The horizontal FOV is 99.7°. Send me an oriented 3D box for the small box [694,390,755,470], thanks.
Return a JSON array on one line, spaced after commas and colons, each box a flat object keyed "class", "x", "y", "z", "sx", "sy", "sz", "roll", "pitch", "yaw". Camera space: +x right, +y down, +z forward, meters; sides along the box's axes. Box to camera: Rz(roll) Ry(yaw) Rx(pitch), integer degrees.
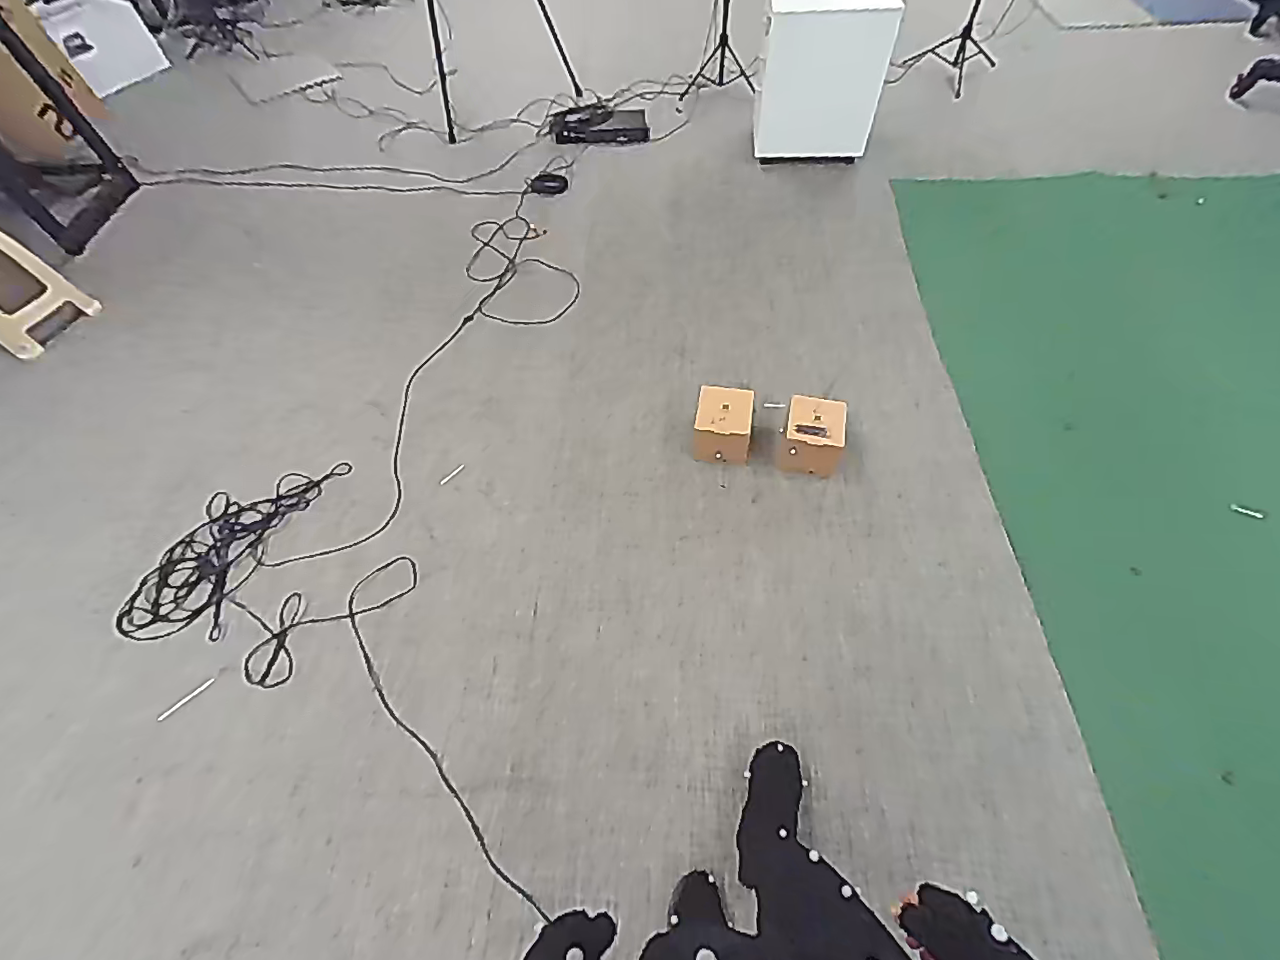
[{"class": "small box", "x": 0.263, "y": -0.157, "z": 1.703, "sx": 0.168, "sy": 0.176, "sz": 0.179, "roll": 7, "pitch": 58, "yaw": 9}]
